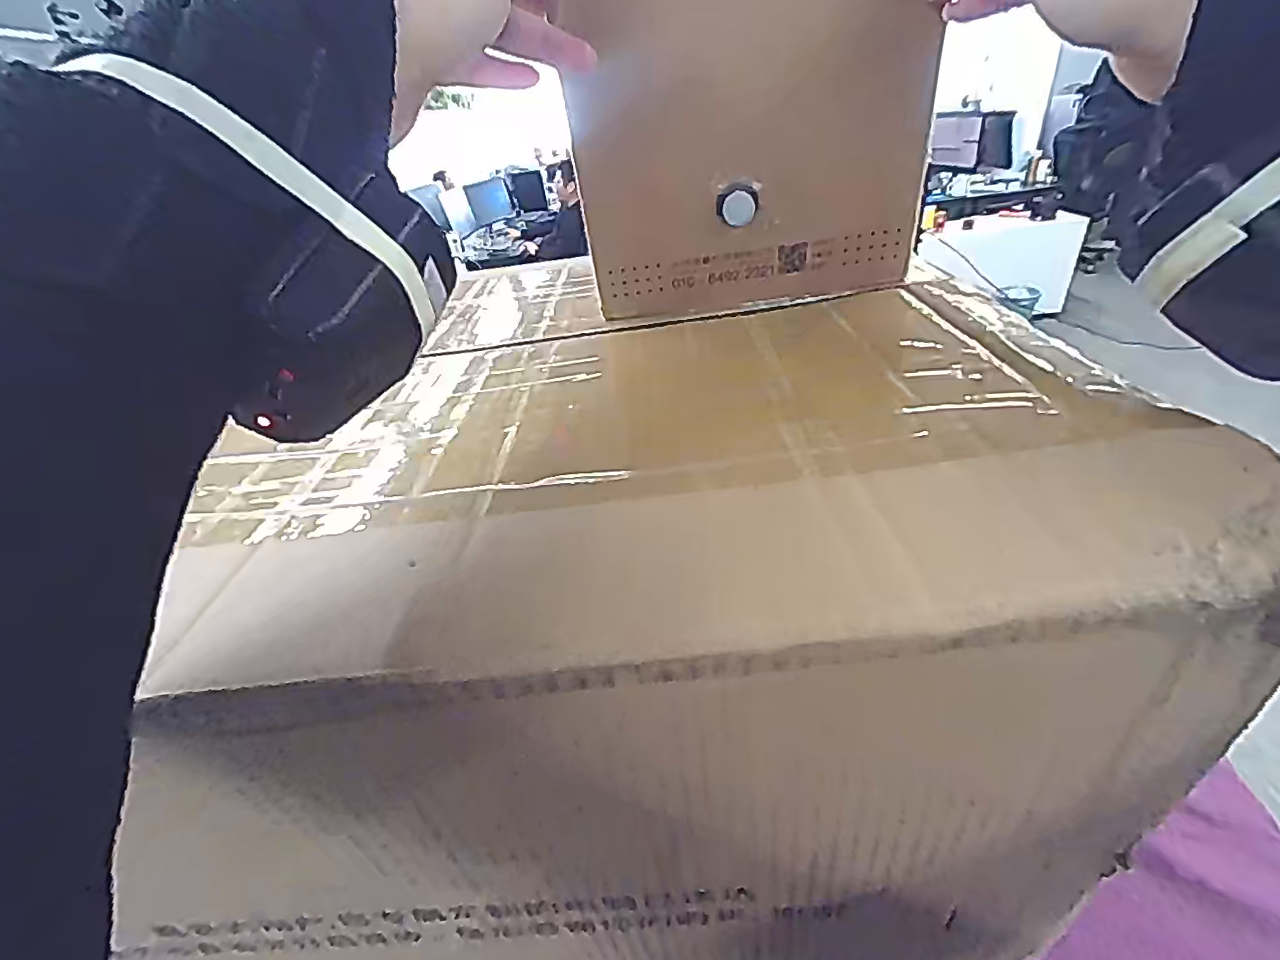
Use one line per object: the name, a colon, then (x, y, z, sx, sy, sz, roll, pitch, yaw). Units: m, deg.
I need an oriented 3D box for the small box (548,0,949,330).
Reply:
small box: (0.052, -0.205, 0.316, 0.168, 0.176, 0.179, -6, 39, 7)
